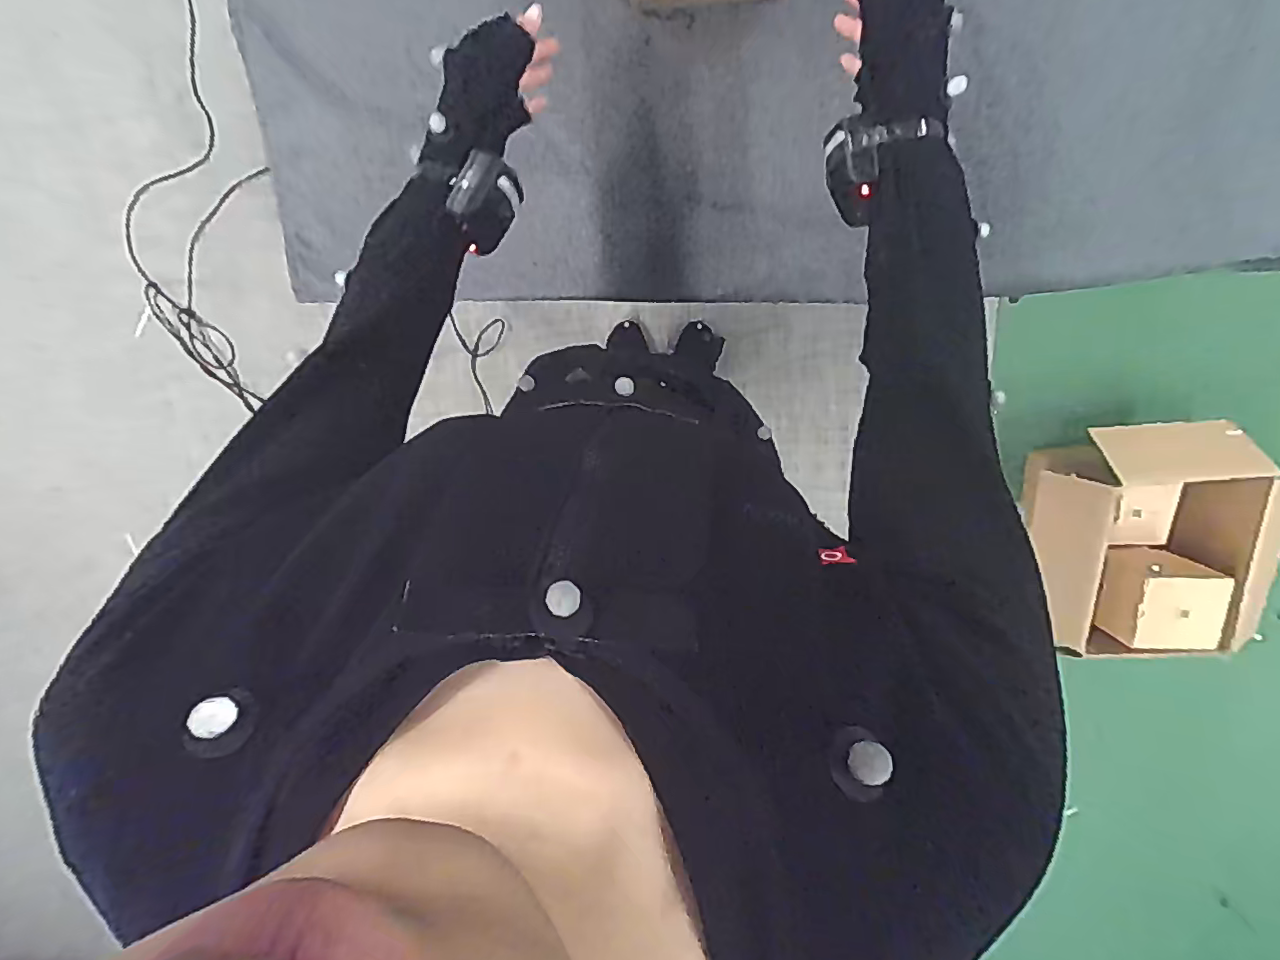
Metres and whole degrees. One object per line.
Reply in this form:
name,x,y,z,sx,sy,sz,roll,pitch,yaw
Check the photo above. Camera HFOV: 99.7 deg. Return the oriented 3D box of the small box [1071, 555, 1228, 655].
small box,1.130,0.274,1.214,0.179,0.176,0.168,0,104,2
